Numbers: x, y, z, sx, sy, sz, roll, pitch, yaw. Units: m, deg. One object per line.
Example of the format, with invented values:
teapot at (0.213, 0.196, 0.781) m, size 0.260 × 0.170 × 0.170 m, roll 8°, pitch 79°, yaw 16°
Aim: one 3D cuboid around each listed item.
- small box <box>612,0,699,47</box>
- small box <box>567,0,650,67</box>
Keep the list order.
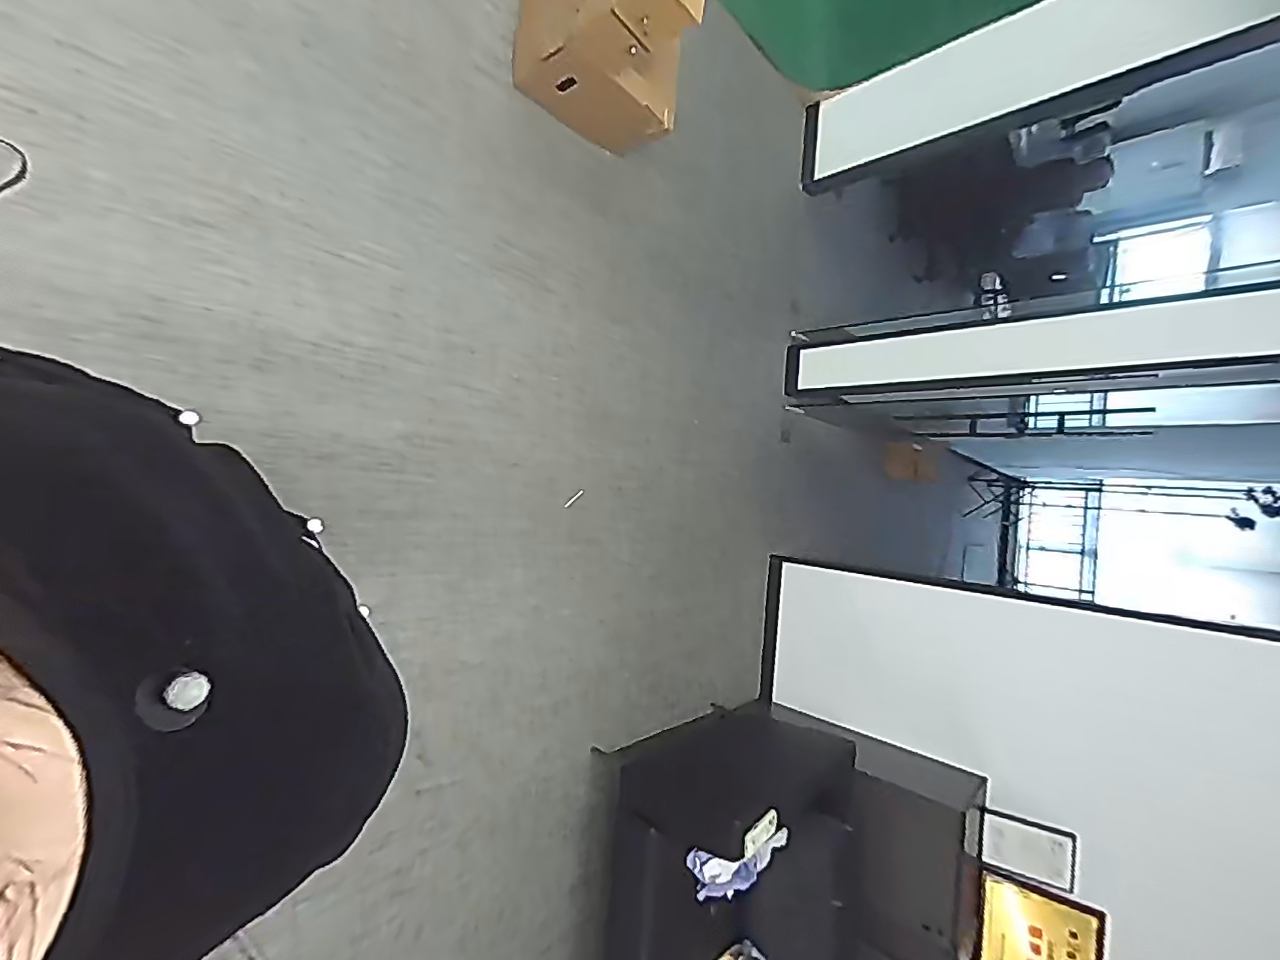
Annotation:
small box at (0.044, -1.298, 1.409) m, size 0.168 × 0.176 × 0.179 m, roll 10°, pitch 87°, yaw -48°
small box at (-0.078, -1.310, 1.517) m, size 0.179 × 0.176 × 0.168 m, roll 9°, pitch 86°, yaw -48°
